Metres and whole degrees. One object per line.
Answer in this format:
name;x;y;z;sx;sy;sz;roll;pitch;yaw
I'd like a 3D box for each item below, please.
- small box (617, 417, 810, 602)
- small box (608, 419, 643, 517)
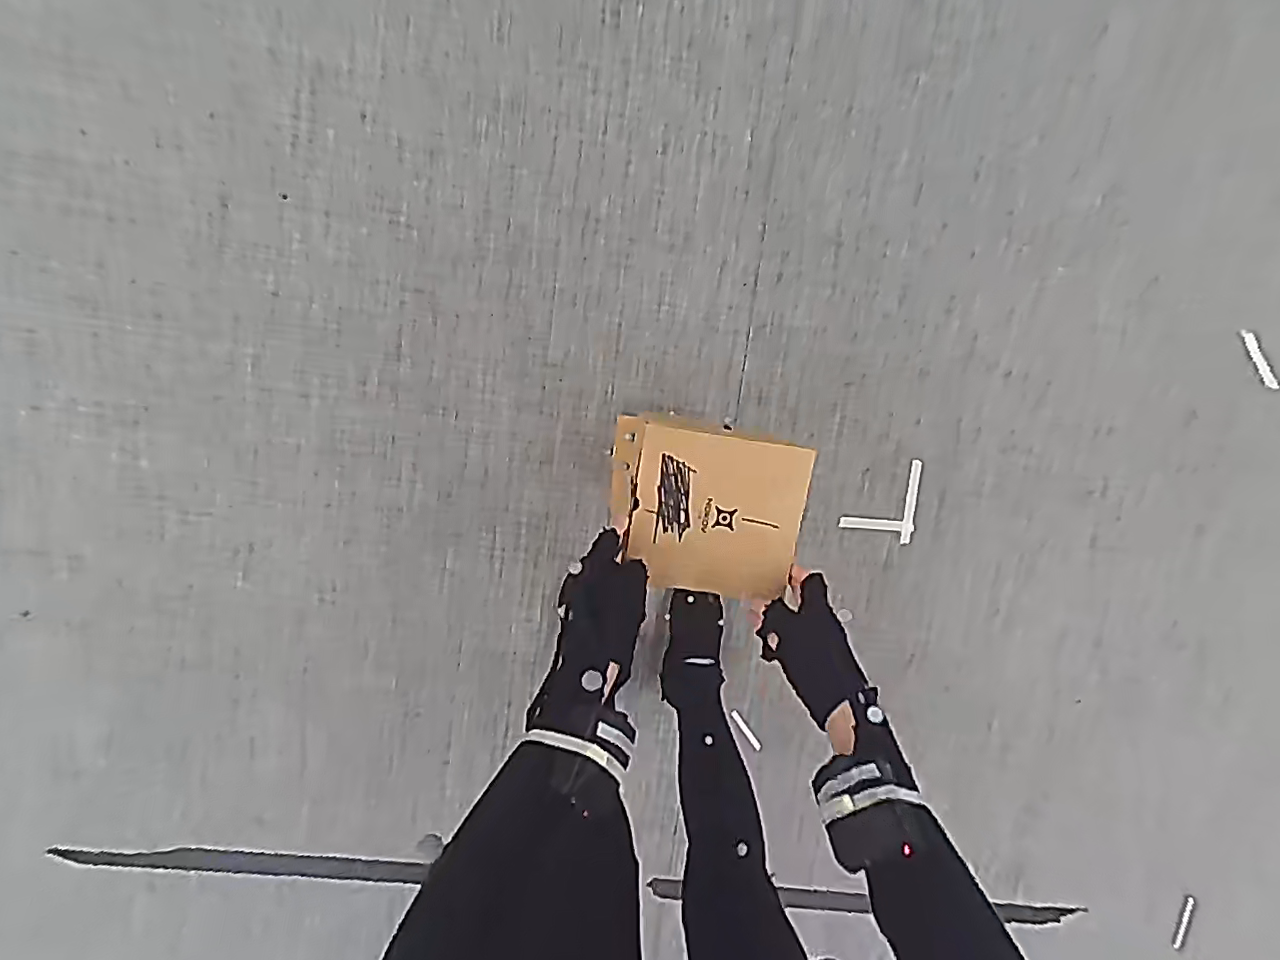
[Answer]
small box;0.070;0.022;0.632;0.179;0.176;0.168;9;101;-5
small box;0.036;-0.021;0.980;0.179;0.176;0.168;4;96;-4
